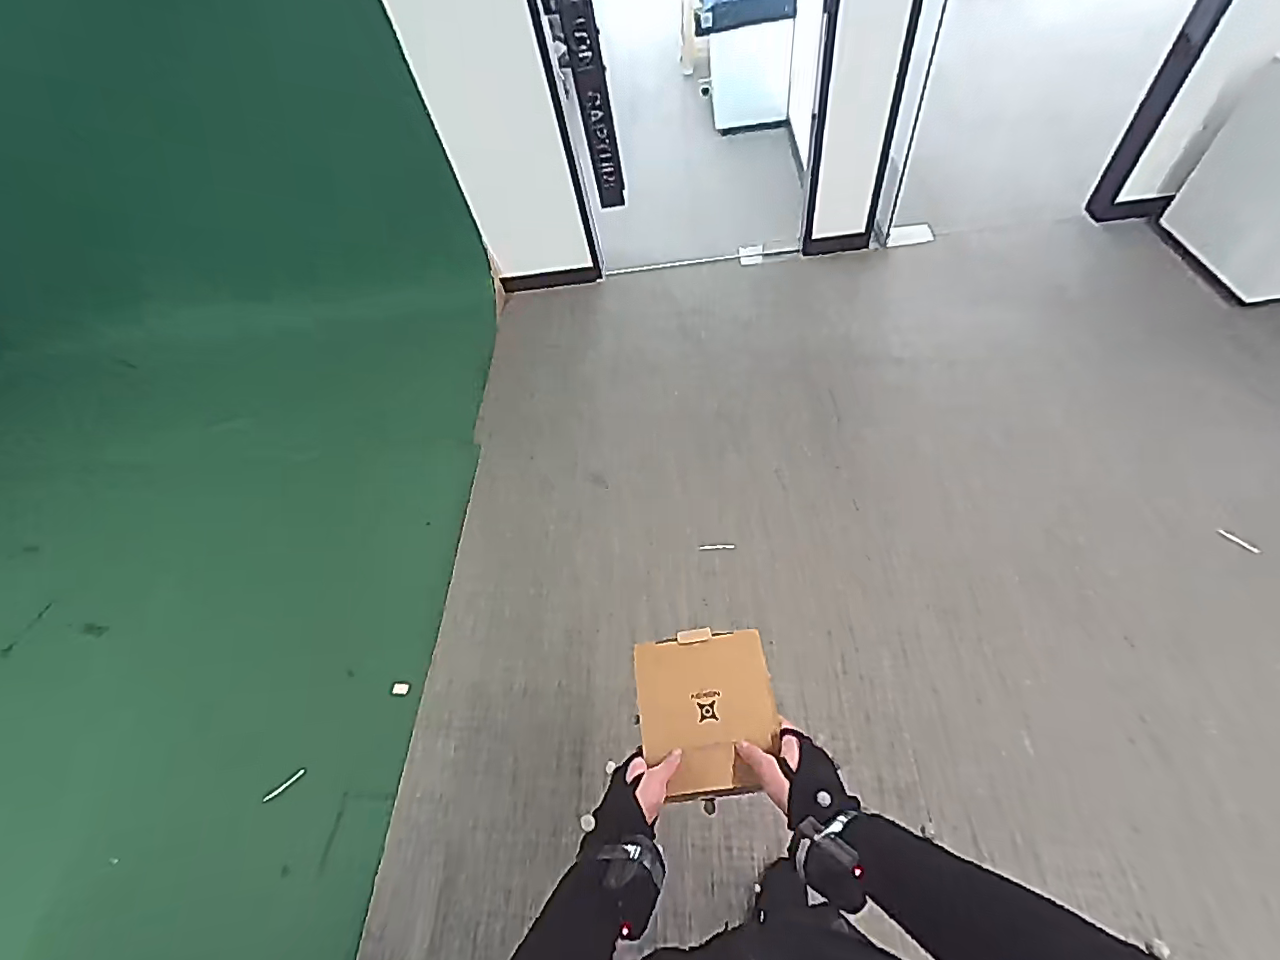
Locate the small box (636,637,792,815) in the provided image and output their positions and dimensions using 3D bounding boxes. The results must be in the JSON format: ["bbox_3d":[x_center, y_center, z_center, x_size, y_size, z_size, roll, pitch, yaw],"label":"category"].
[{"bbox_3d":[0.087,0.321,0.698,0.168,0.176,0.179,-7,56,3],"label":"small box"}]
